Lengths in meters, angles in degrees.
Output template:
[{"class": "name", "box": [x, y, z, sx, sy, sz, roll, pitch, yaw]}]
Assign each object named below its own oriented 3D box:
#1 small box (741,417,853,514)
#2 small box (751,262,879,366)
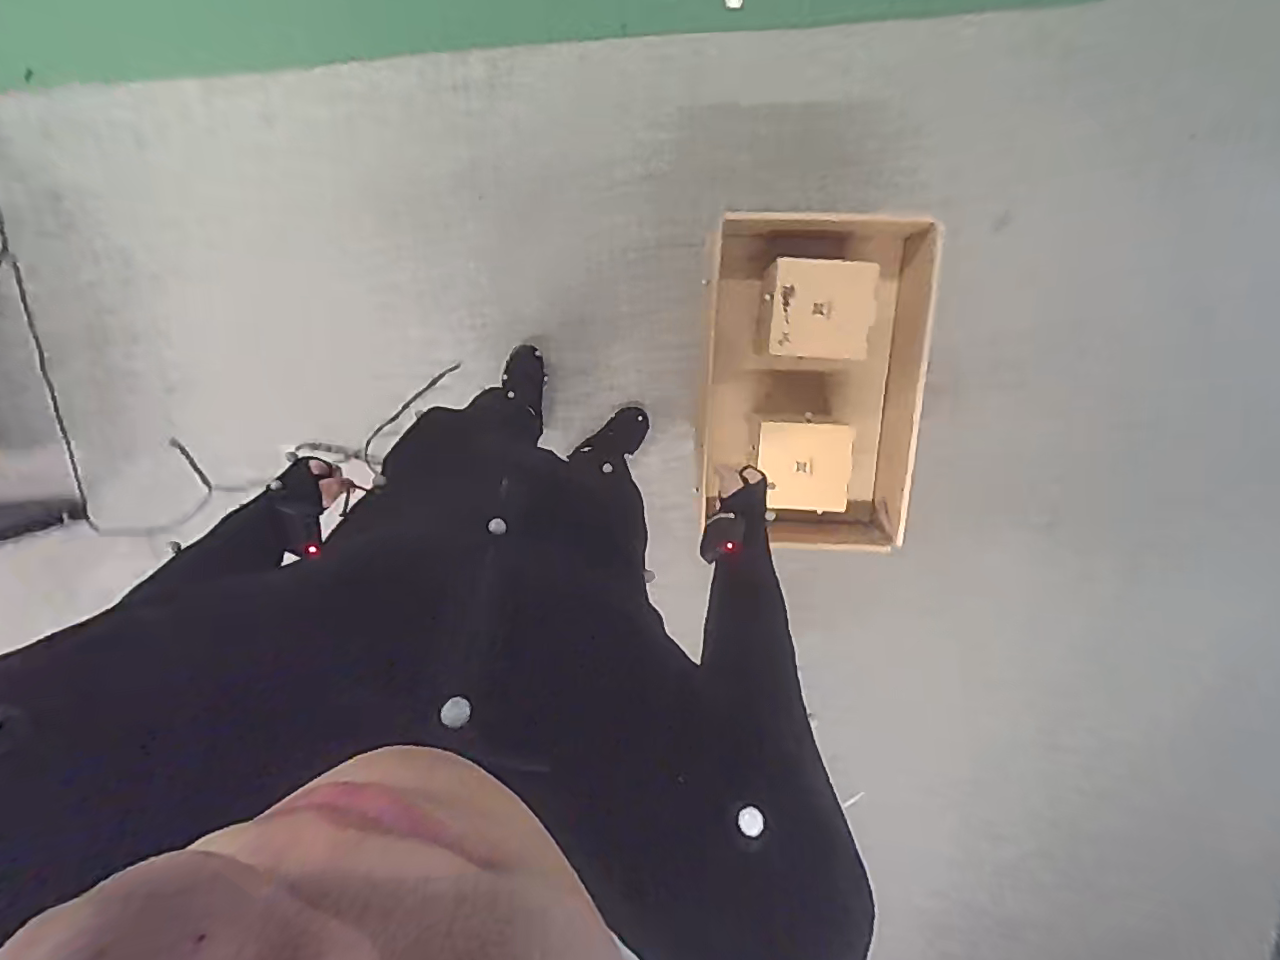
[{"class": "small box", "box": [0.305, -0.036, 1.089, 0.179, 0.176, 0.168, 3, 103, 1]}, {"class": "small box", "box": [0.320, -0.307, 1.025, 0.179, 0.176, 0.168, 5, 102, 1]}]
